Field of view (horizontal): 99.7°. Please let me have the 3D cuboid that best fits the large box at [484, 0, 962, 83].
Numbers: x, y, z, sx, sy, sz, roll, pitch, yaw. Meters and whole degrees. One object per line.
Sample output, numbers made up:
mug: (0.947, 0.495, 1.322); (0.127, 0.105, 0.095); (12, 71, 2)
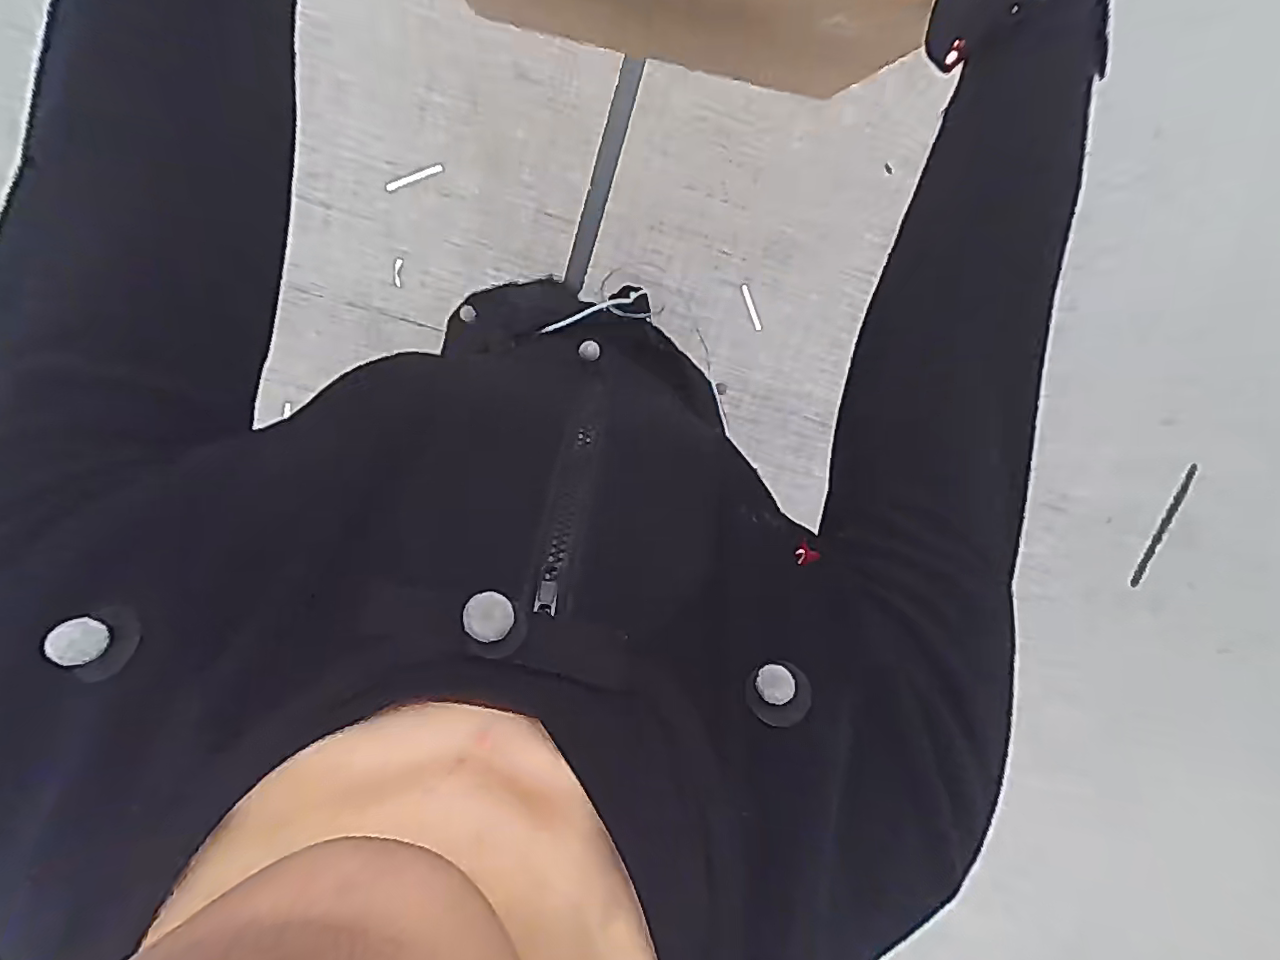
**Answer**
large box: (0.054, -0.550, 0.406); (0.408, 0.320, 0.320); (9, 118, -6)
